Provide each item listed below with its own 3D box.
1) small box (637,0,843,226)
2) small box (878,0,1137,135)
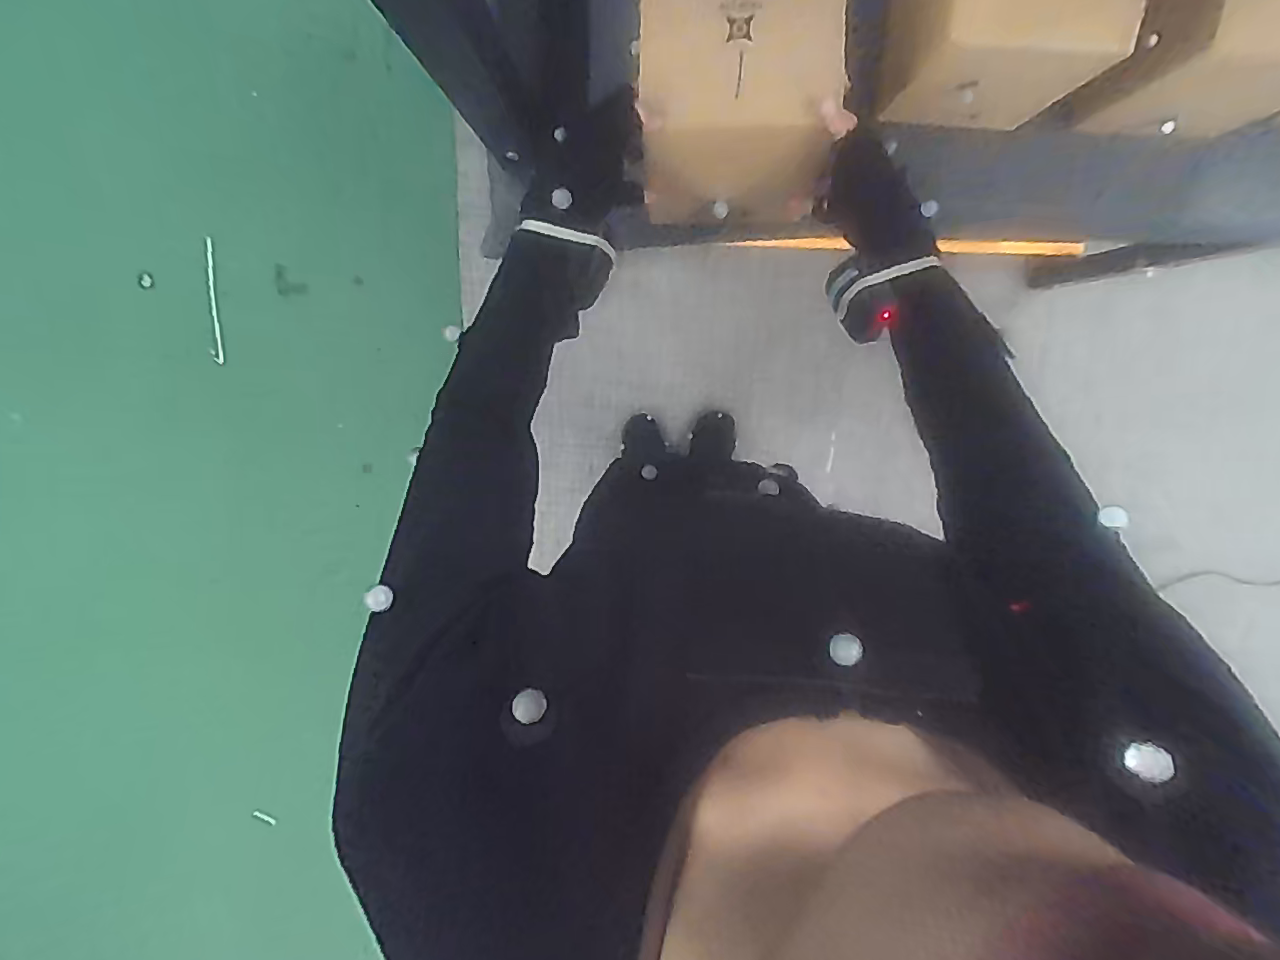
[{"bbox_3d":[0.087,-0.370,0.520,0.168,0.176,0.179,2,91,5],"label":"small box"},{"bbox_3d":[0.361,-0.478,0.547,0.168,0.176,0.179,5,101,2],"label":"small box"}]
